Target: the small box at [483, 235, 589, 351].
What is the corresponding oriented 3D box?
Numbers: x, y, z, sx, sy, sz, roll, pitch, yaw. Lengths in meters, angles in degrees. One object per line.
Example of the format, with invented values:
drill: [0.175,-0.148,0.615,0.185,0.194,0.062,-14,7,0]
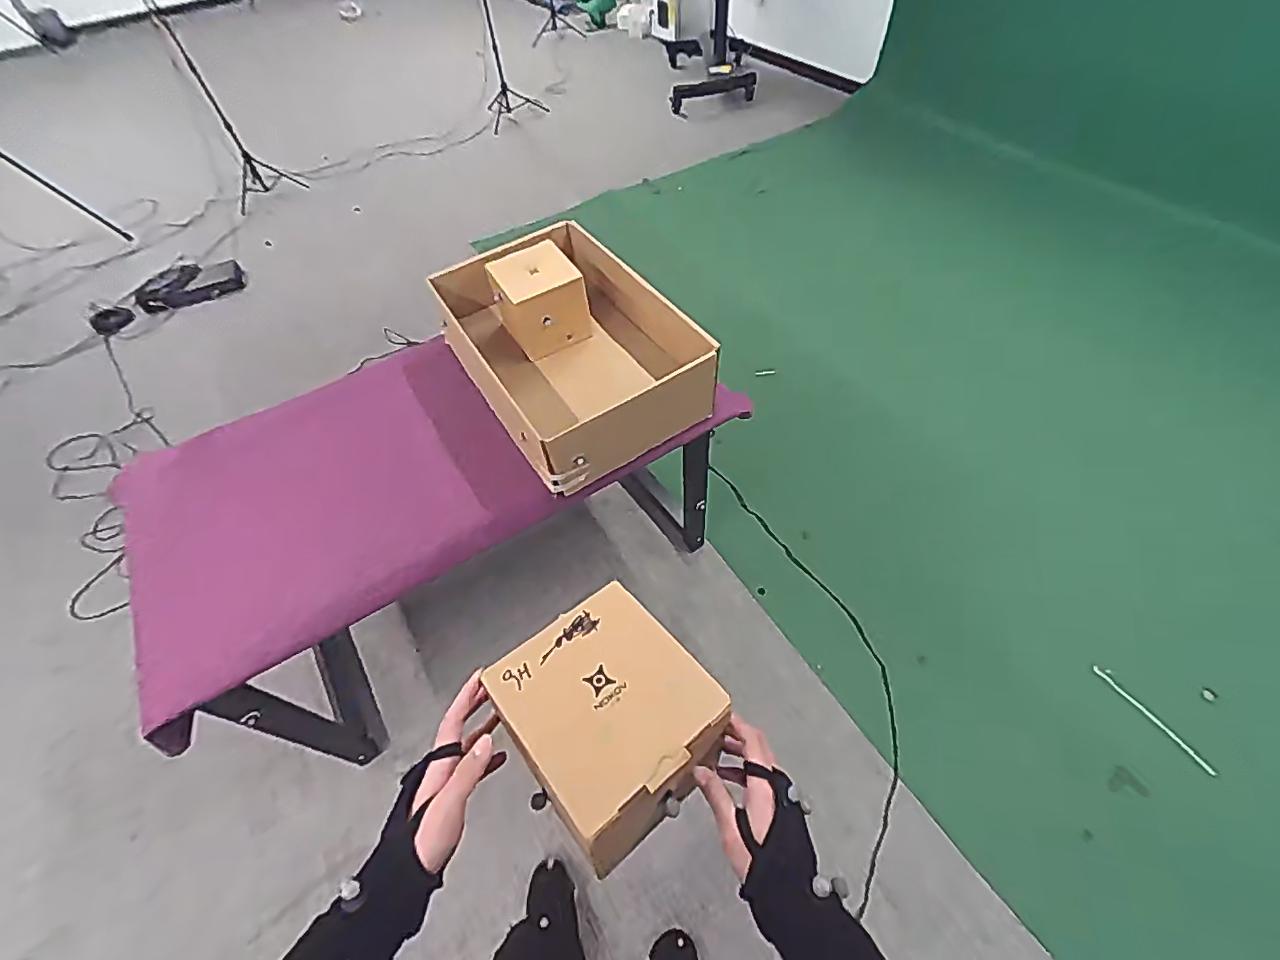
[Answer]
small box: [-0.233,-0.420,1.244,0.168,0.176,0.179,-28,58,-13]
